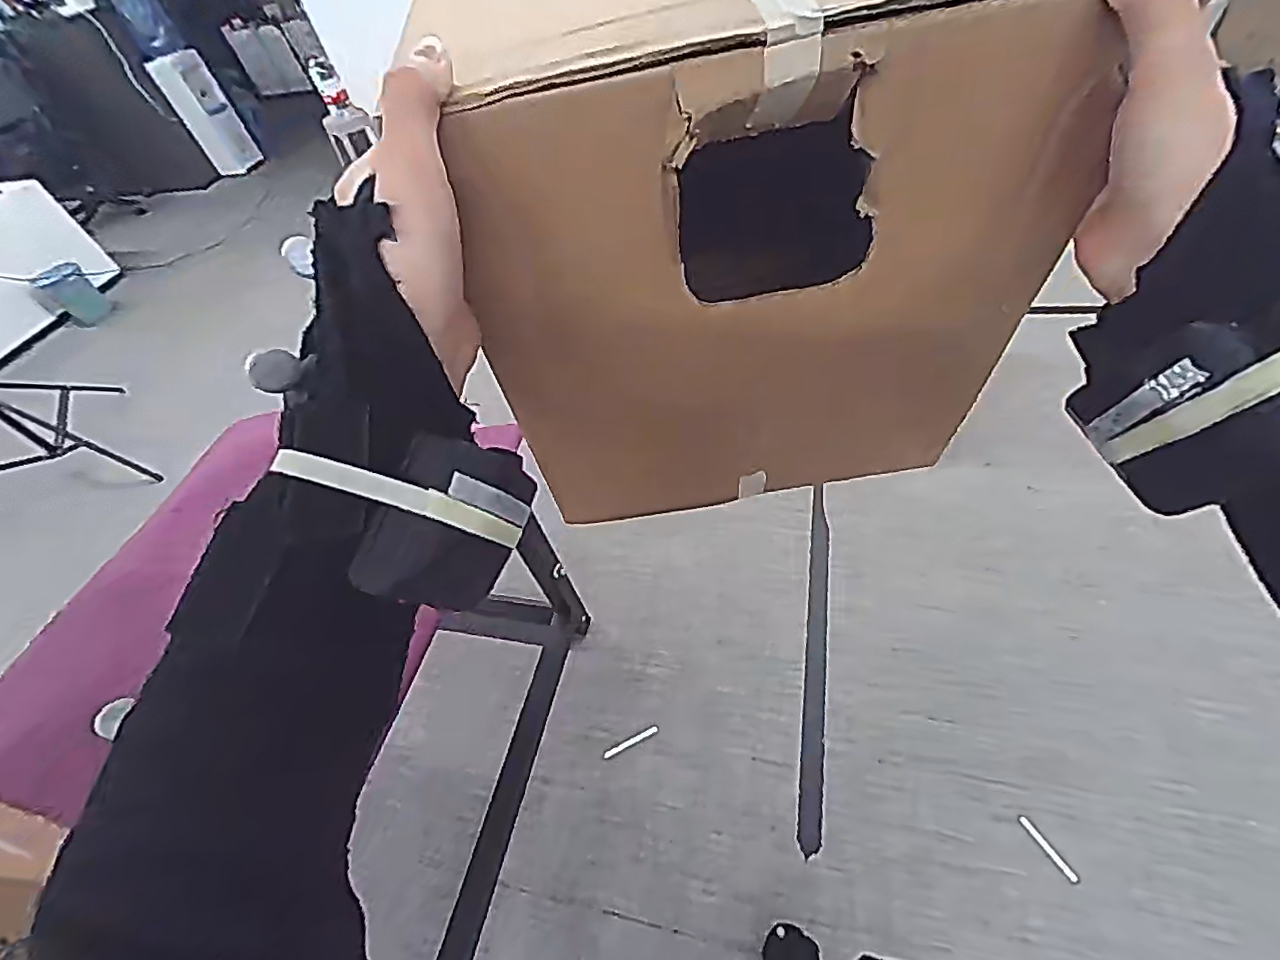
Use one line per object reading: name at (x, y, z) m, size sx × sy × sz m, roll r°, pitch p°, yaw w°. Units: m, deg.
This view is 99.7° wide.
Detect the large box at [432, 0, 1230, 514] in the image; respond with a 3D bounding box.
large box at (0.059, -0.237, 0.431) m, size 0.320 × 0.320 × 0.408 m, roll -11°, pitch 57°, yaw 2°
